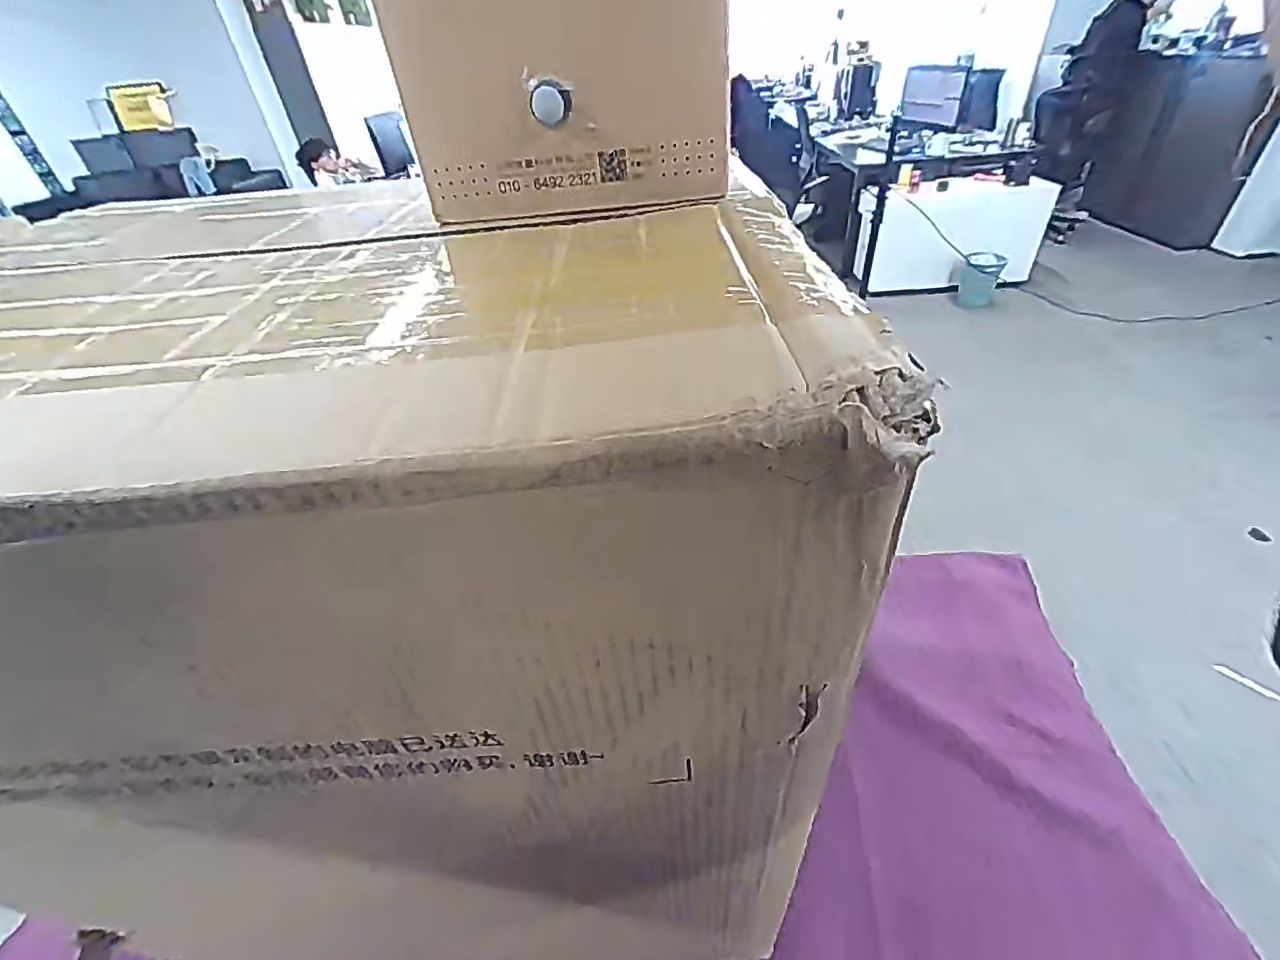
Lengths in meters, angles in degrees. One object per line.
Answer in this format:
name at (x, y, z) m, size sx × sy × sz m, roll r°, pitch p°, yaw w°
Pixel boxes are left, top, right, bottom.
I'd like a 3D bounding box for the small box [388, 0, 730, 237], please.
small box at (-0.037, -0.257, 0.323) m, size 0.168 × 0.176 × 0.179 m, roll -4°, pitch 39°, yaw 4°
